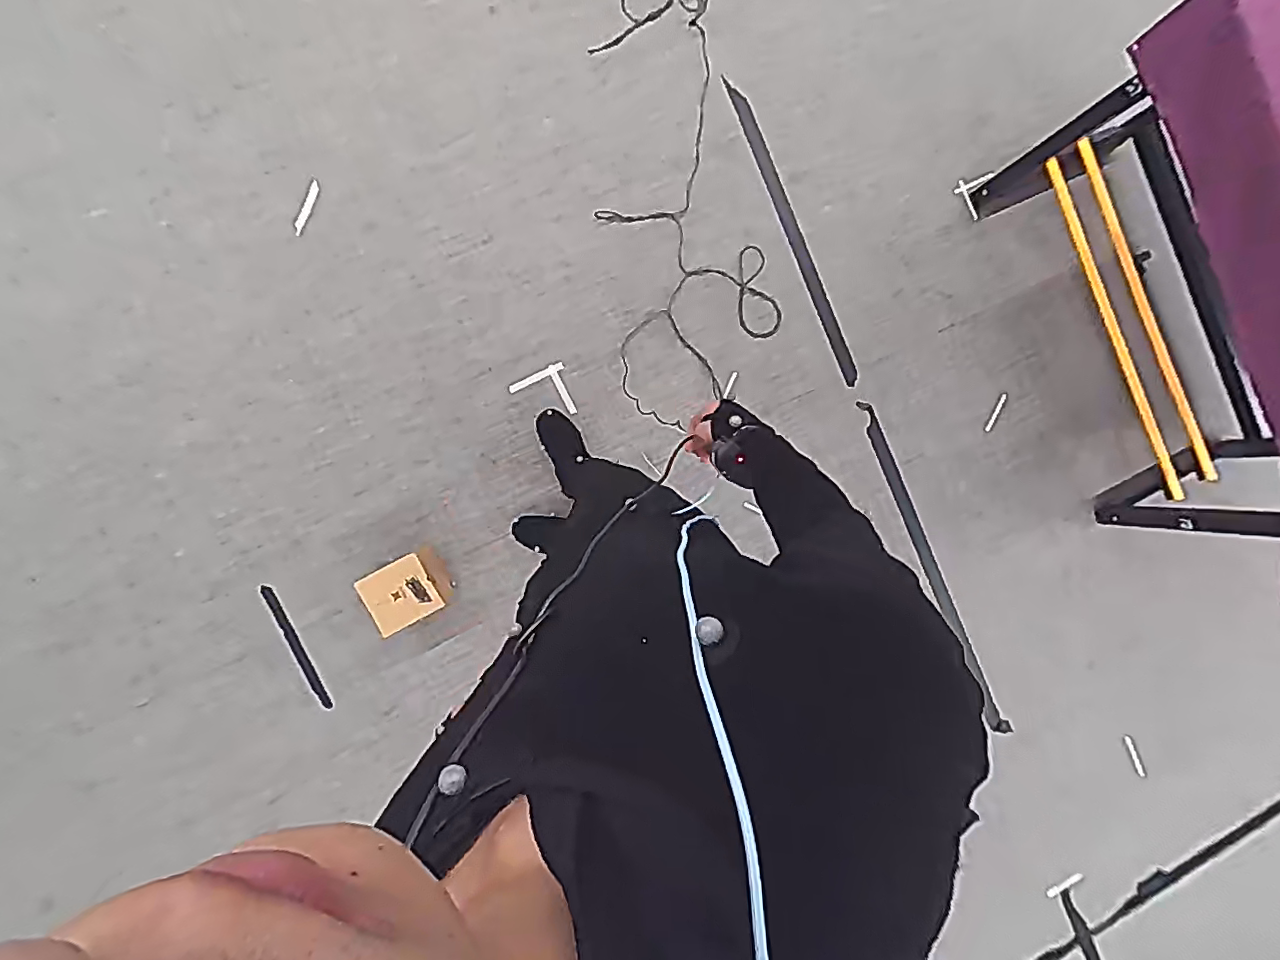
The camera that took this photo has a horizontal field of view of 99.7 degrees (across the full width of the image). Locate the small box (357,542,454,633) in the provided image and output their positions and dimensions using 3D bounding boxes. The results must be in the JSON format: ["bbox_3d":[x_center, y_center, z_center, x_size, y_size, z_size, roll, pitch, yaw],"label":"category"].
[{"bbox_3d":[-0.630,0.285,1.485,0.179,0.176,0.168,-28,94,-5],"label":"small box"}]
